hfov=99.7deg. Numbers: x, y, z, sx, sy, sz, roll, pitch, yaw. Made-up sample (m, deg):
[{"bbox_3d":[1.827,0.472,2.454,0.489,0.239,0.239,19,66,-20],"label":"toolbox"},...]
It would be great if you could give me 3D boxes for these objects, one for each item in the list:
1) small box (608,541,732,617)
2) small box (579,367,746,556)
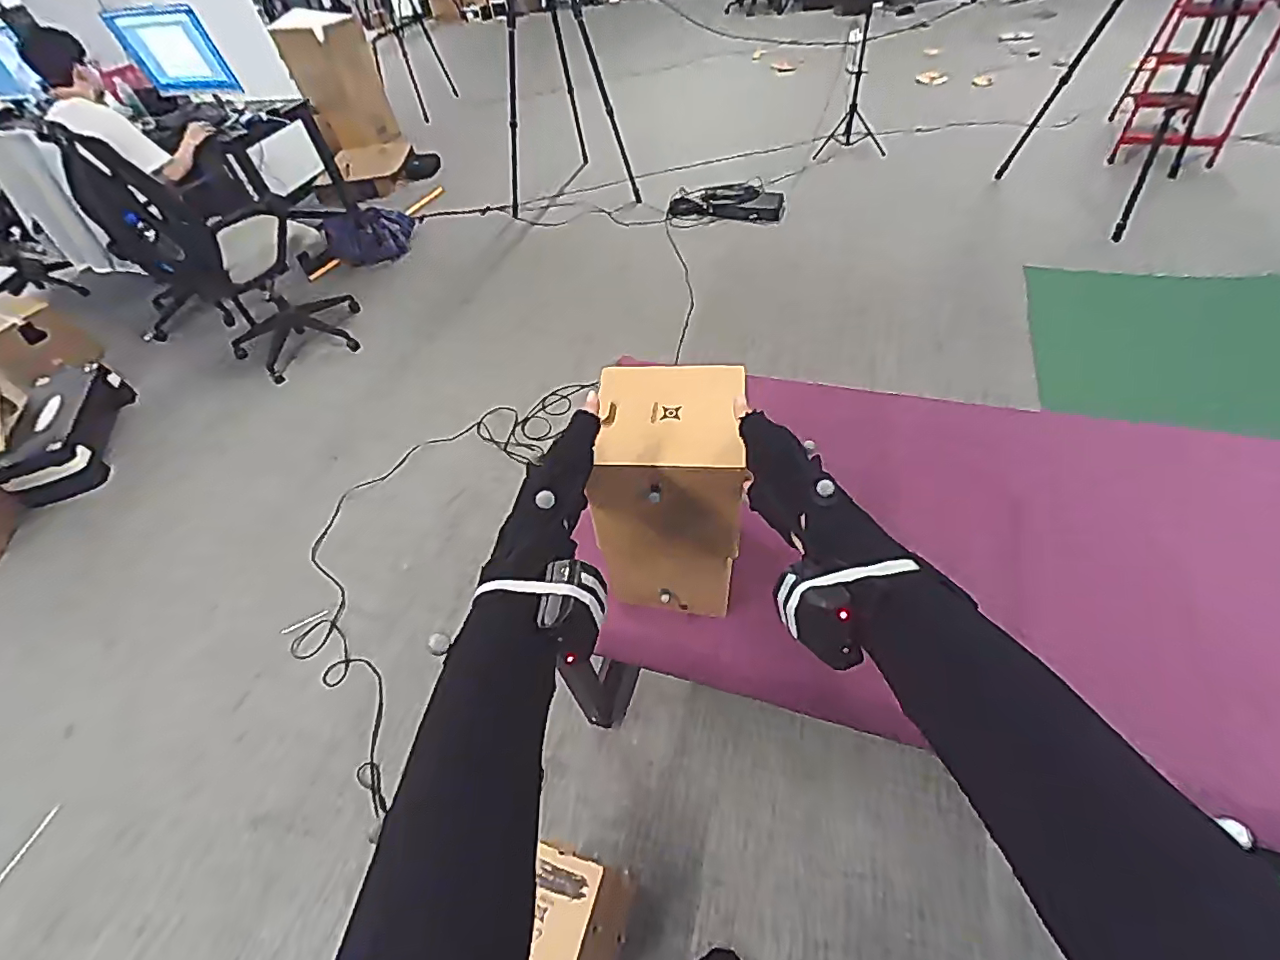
[{"bbox_3d":[0.051,0.076,0.802,0.168,0.176,0.179,6,50,12],"label":"small box"},{"bbox_3d":[0.037,-0.020,0.668,0.179,0.176,0.168,2,50,9],"label":"small box"}]
